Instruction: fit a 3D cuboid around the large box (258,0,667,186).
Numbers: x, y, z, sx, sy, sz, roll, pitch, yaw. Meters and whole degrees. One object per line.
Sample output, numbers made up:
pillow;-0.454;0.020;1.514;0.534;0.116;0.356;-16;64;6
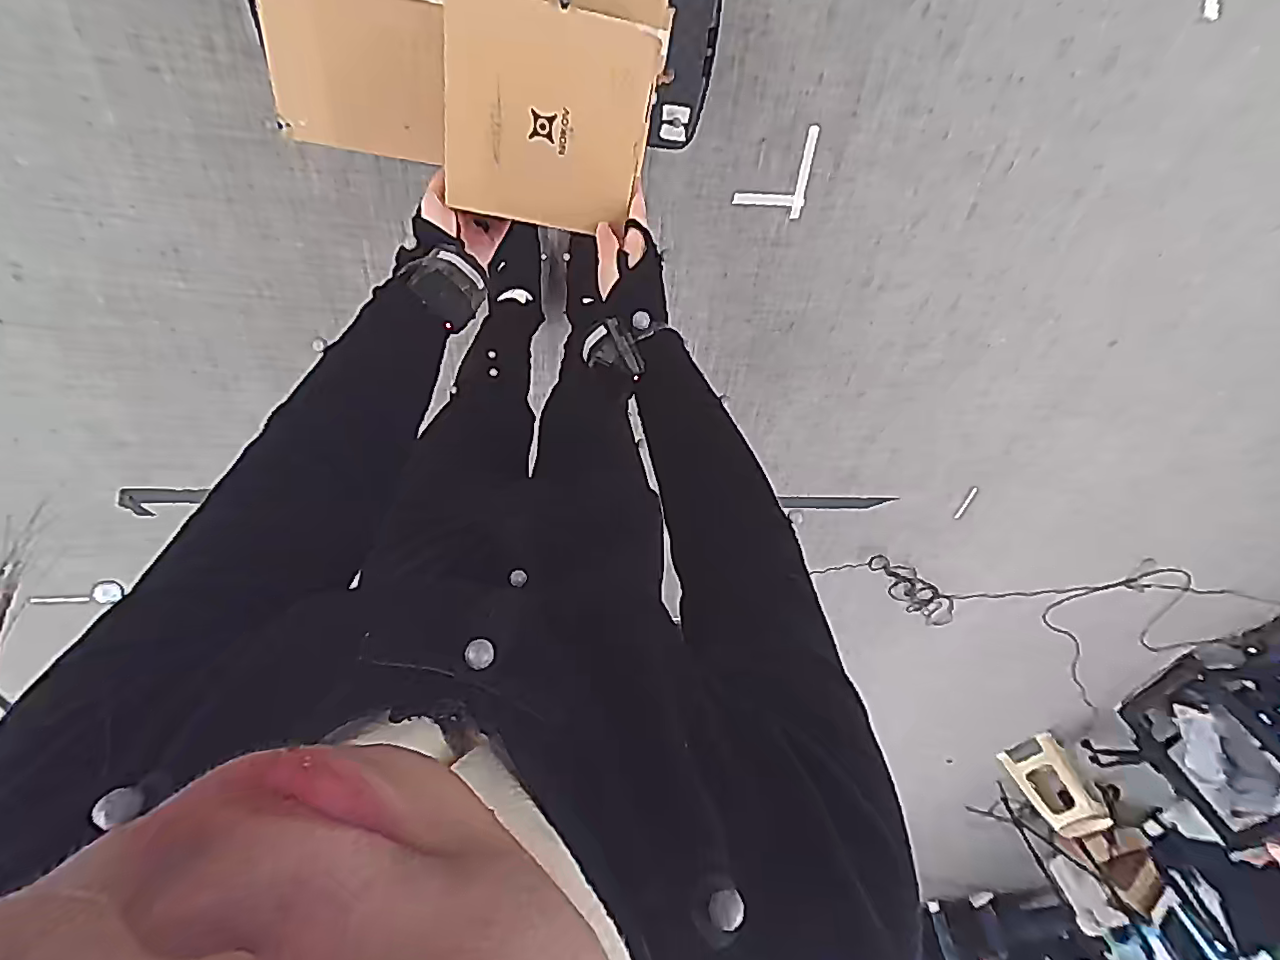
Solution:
large box;-0.186;-0.578;0.655;0.408;0.320;0.320;4;128;-11

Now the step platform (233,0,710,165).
step platform;-0.237;-0.721;0.840;0.684;0.204;0.286;6;128;-13

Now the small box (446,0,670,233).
small box;-0.086;-0.365;0.527;0.179;0.176;0.168;6;129;-13
